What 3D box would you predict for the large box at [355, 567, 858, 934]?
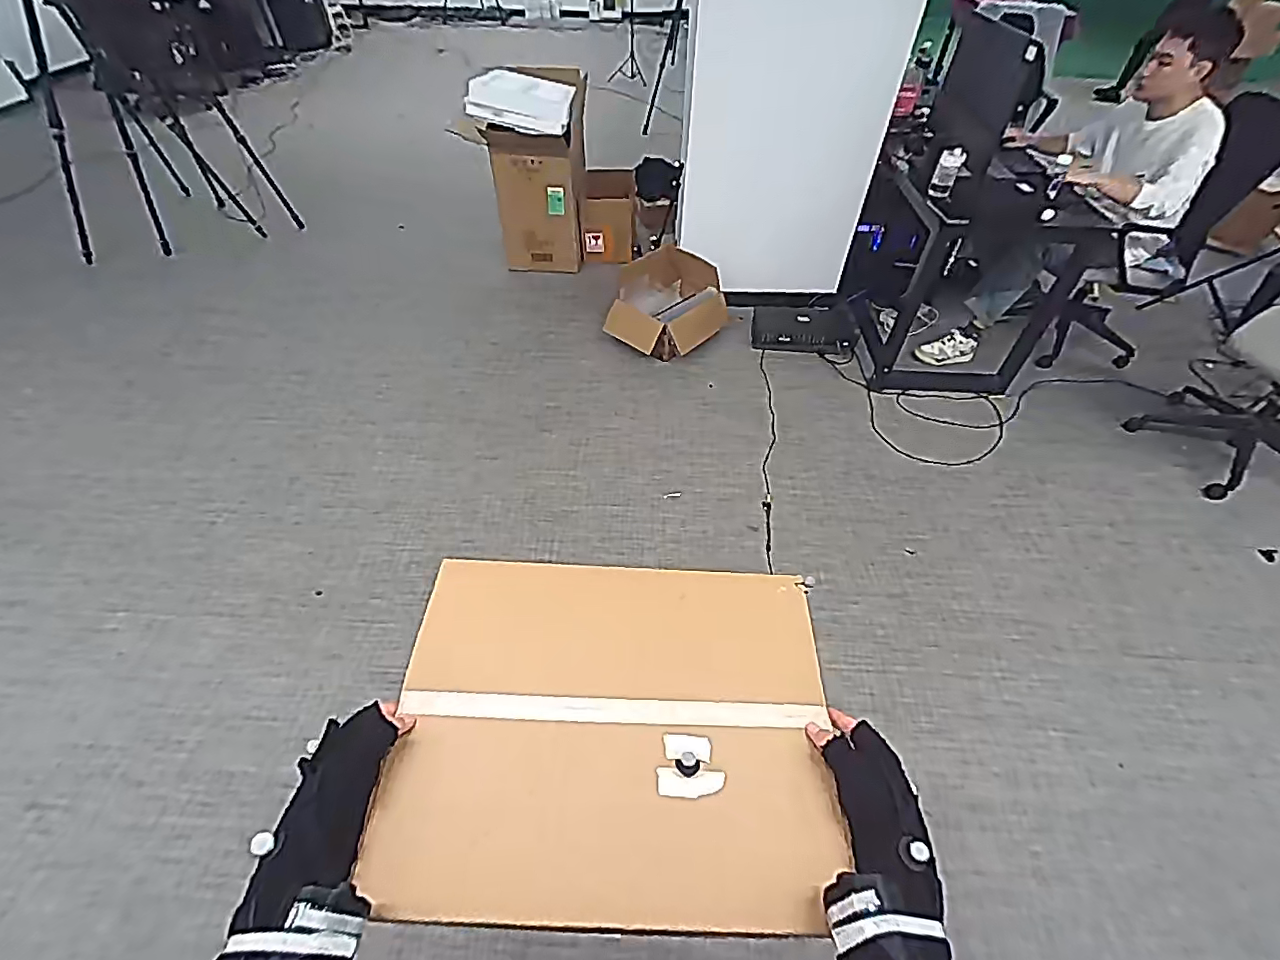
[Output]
[{"bbox_3d":[-0.030,0.320,0.628,0.408,0.320,0.320,4,50,-1],"label":"large box"}]
